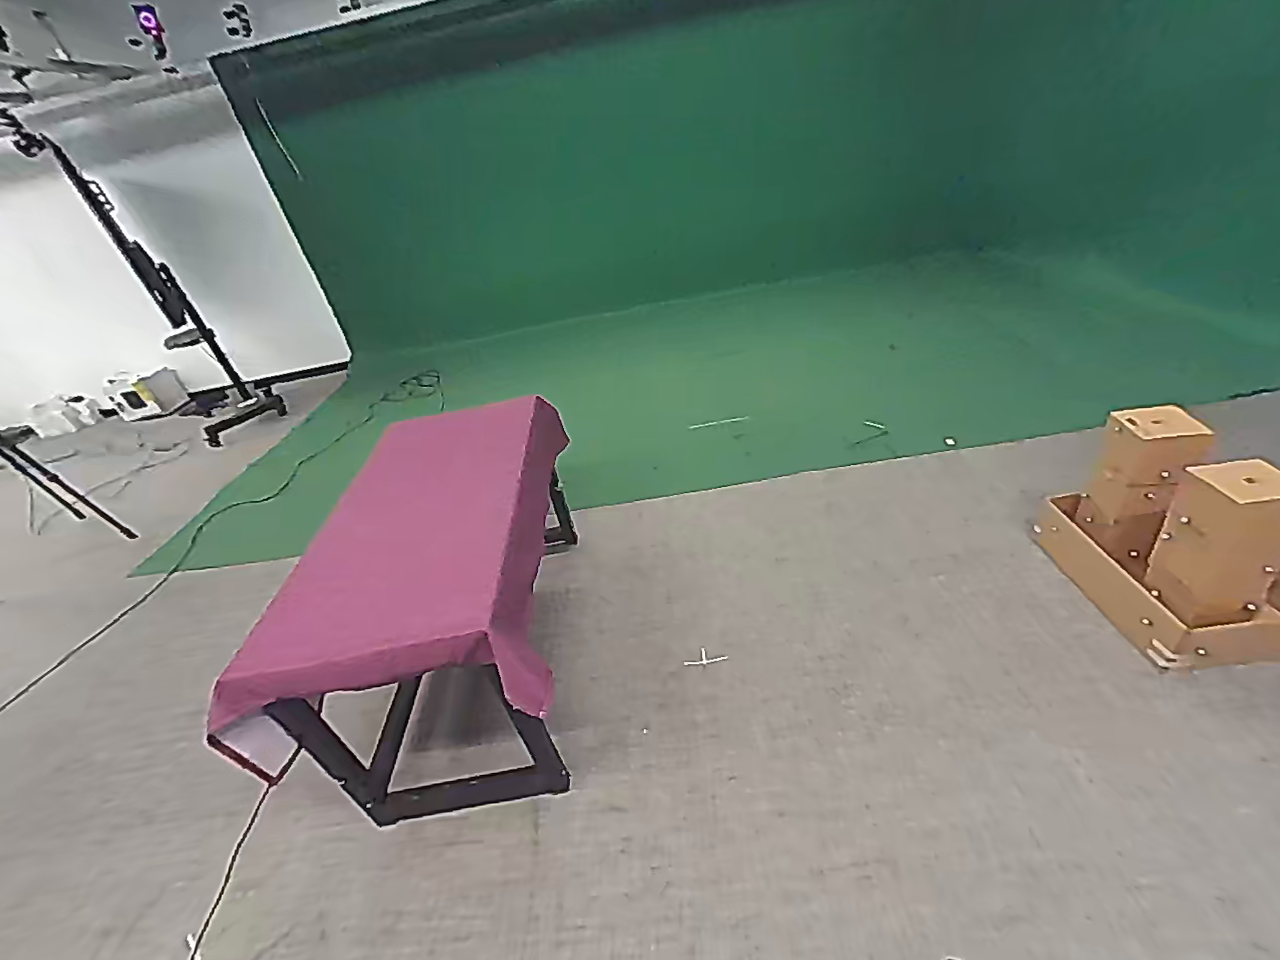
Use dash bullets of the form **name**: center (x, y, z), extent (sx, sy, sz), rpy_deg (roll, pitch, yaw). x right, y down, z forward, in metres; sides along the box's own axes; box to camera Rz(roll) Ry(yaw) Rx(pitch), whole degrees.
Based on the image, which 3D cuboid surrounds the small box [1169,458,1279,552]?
- **small box**: center (1.531, 0.065, 1.383), extent (0.179, 0.176, 0.168), rpy_deg (-8, 33, 7)

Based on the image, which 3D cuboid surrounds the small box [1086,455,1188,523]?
- **small box**: center (1.573, 0.023, 1.725), extent (0.179, 0.176, 0.168), rpy_deg (-5, 35, 10)

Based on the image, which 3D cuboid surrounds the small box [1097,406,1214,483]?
- **small box**: center (1.539, -0.106, 1.628), extent (0.179, 0.176, 0.168), rpy_deg (-4, 34, 11)
